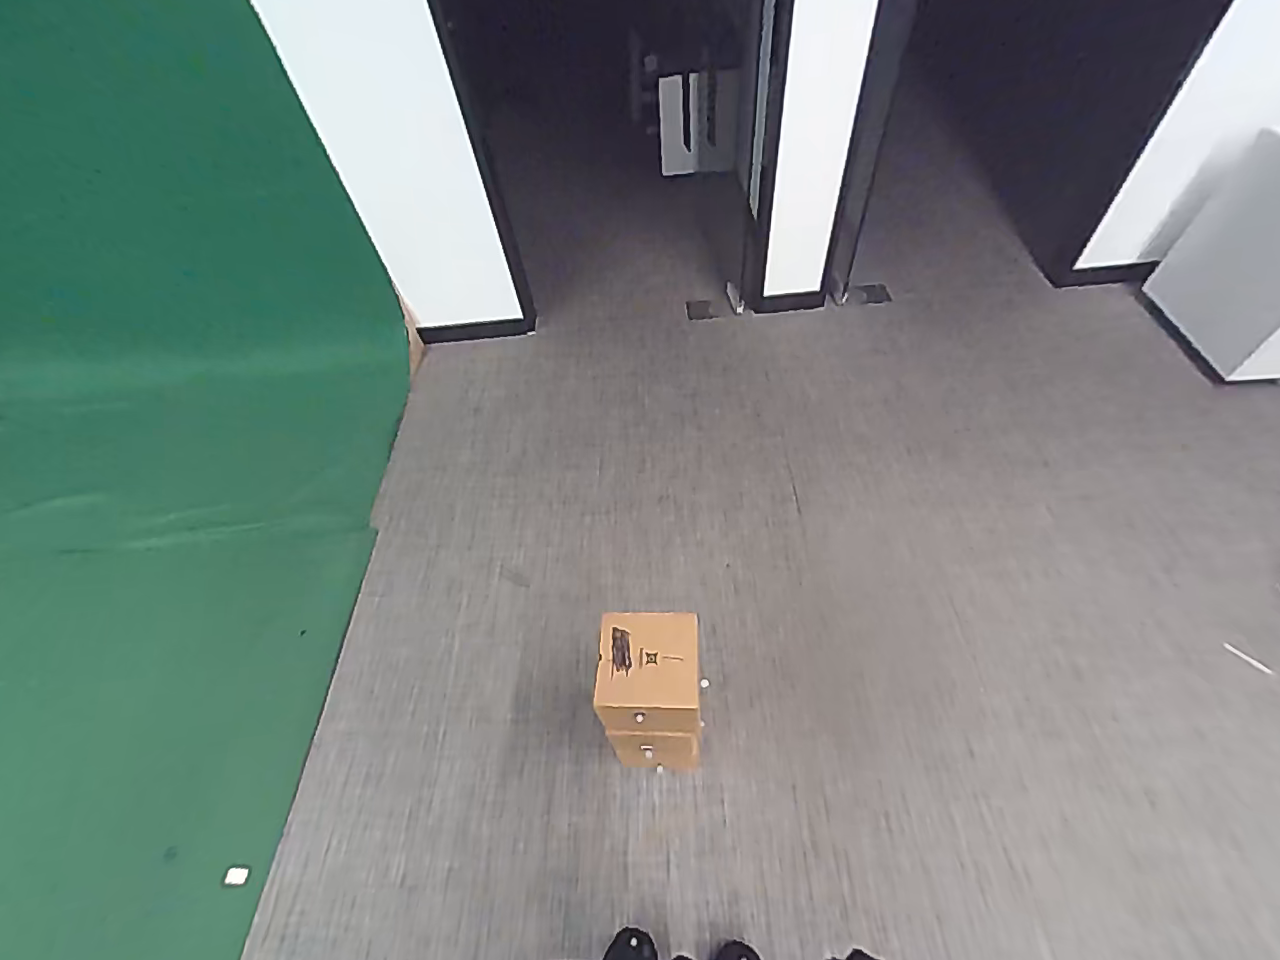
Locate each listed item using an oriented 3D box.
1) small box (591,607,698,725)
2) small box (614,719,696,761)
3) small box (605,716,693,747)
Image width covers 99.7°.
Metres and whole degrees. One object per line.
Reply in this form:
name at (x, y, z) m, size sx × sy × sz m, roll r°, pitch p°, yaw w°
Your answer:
small box at (0.017, 0.348, 1.003) m, size 0.179 × 0.176 × 0.168 m, roll -1°, pitch 53°, yaw 7°
small box at (0.041, 0.549, 1.260) m, size 0.179 × 0.176 × 0.168 m, roll 0°, pitch 53°, yaw 6°
small box at (0.026, 0.447, 1.134) m, size 0.168 × 0.176 × 0.179 m, roll -2°, pitch 54°, yaw 7°
